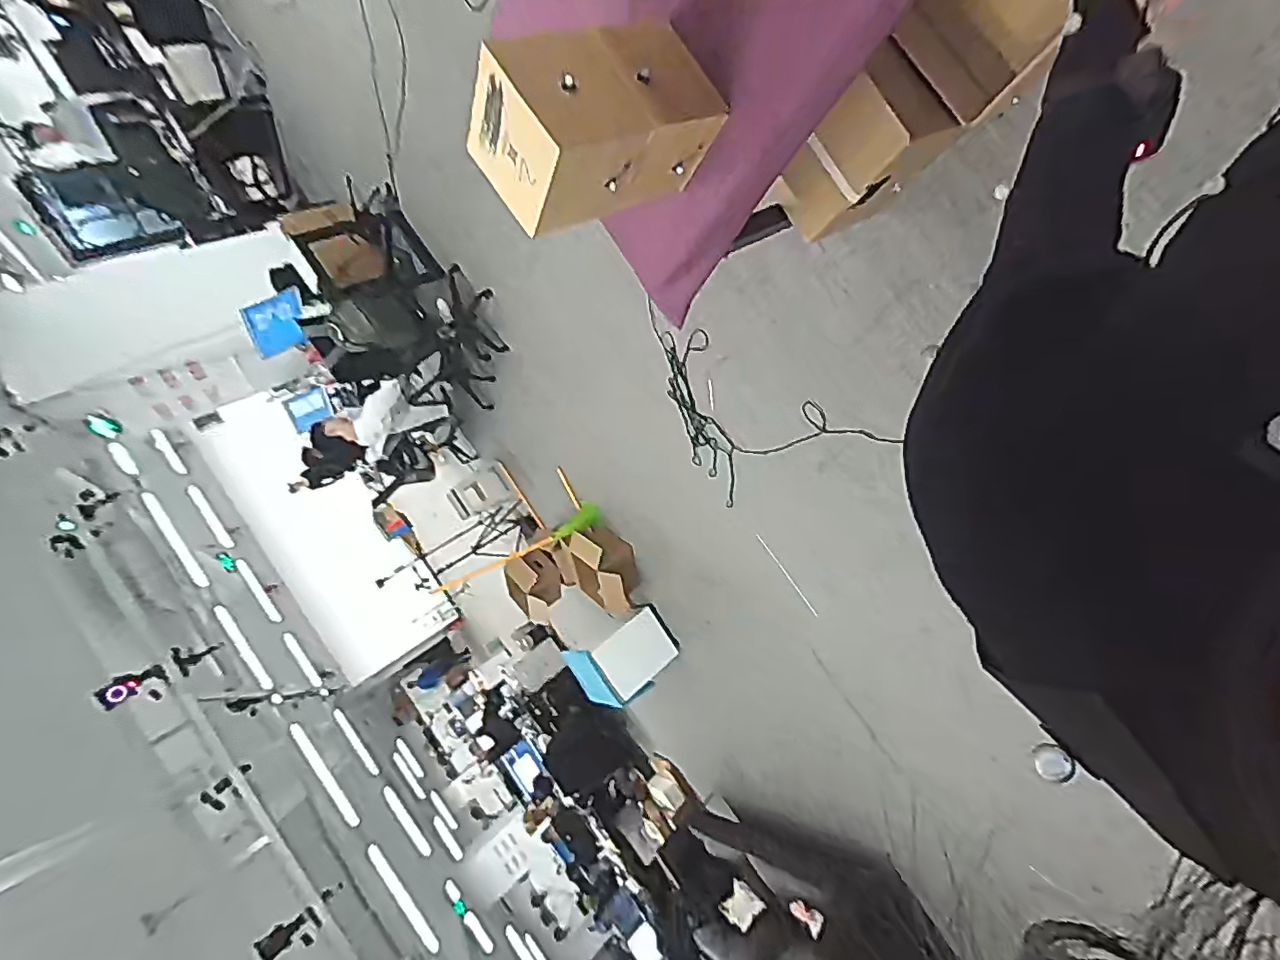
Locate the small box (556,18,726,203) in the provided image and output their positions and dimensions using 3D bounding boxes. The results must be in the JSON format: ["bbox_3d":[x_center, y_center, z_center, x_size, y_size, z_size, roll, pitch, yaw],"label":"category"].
[{"bbox_3d":[0.000,-0.584,0.858,0.179,0.176,0.168,56,151,1],"label":"small box"}]
